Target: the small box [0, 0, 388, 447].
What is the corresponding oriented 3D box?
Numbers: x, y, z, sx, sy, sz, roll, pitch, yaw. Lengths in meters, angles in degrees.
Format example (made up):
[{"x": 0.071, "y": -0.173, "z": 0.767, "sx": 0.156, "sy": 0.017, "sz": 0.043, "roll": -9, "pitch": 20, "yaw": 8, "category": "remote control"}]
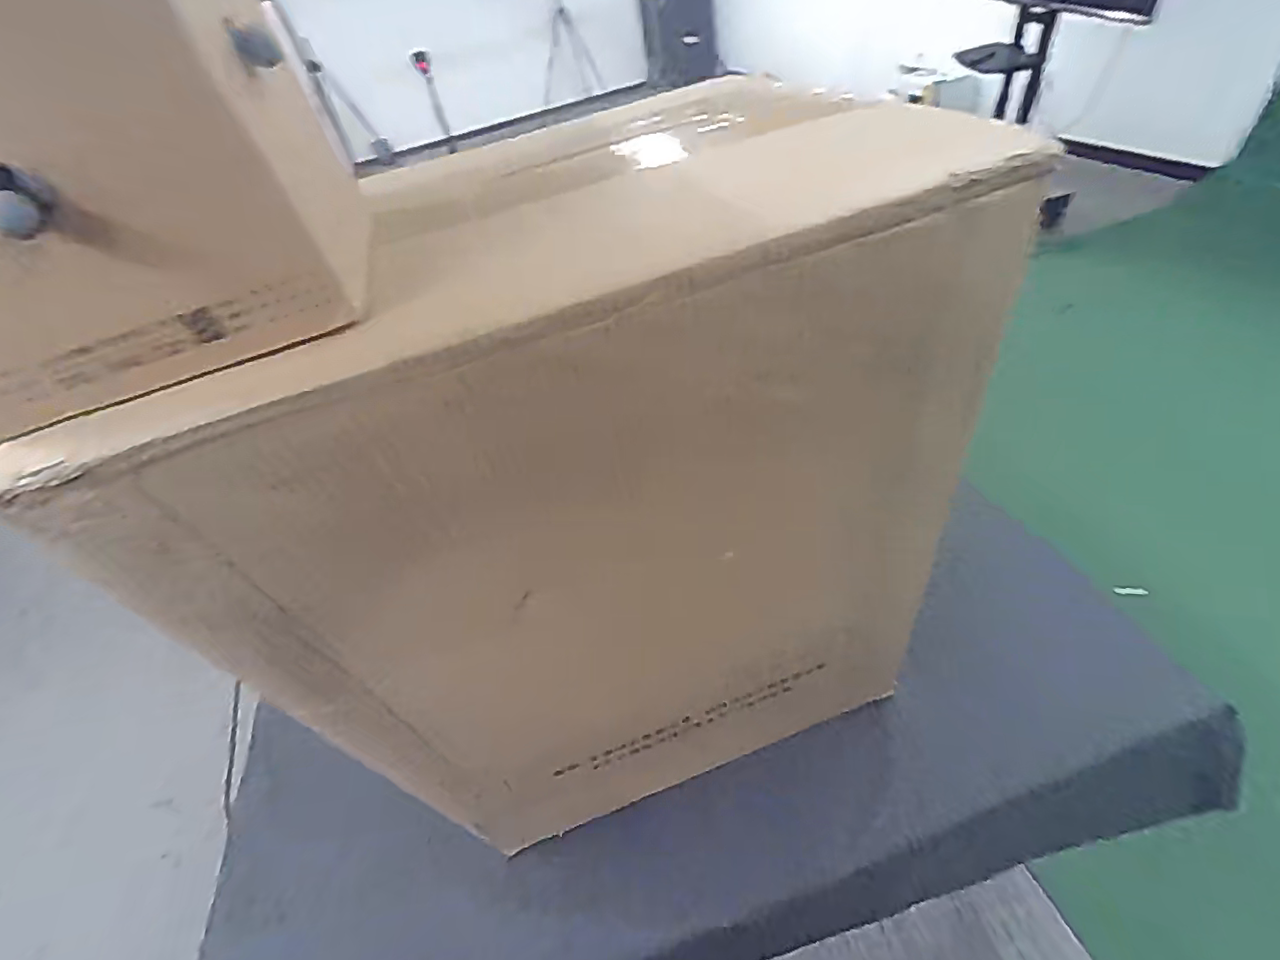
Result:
[{"x": -0.247, "y": -0.138, "z": 0.271, "sx": 0.168, "sy": 0.176, "sz": 0.179, "roll": -24, "pitch": 45, "yaw": -7, "category": "small box"}]
